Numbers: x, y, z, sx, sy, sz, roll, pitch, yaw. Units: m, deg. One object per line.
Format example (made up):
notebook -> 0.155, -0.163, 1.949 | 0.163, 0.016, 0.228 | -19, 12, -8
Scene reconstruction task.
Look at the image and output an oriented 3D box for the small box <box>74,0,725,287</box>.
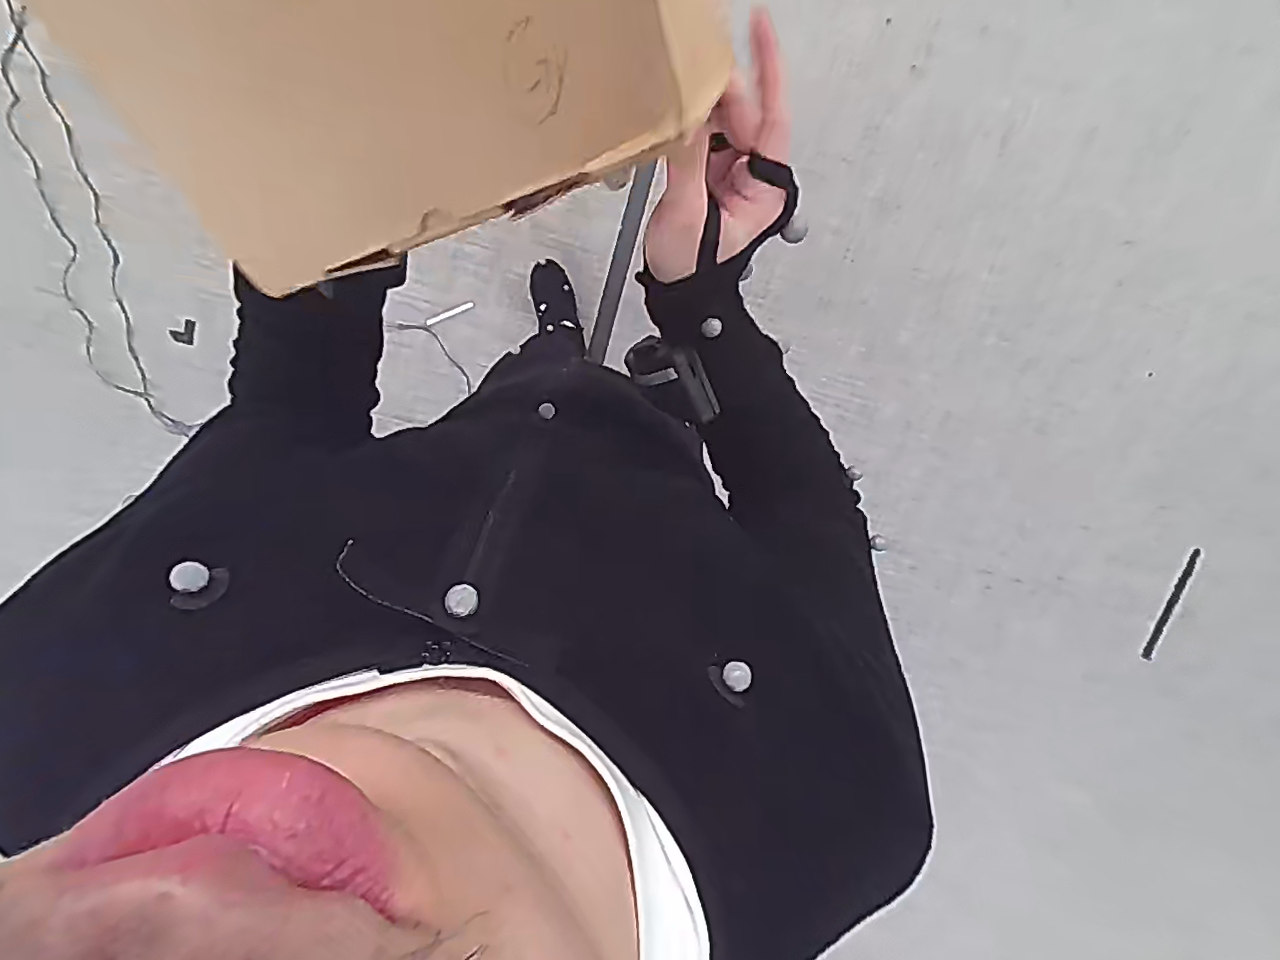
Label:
small box -> -0.074, -0.202, 0.192 | 0.168, 0.176, 0.179 | -9, 127, 22
